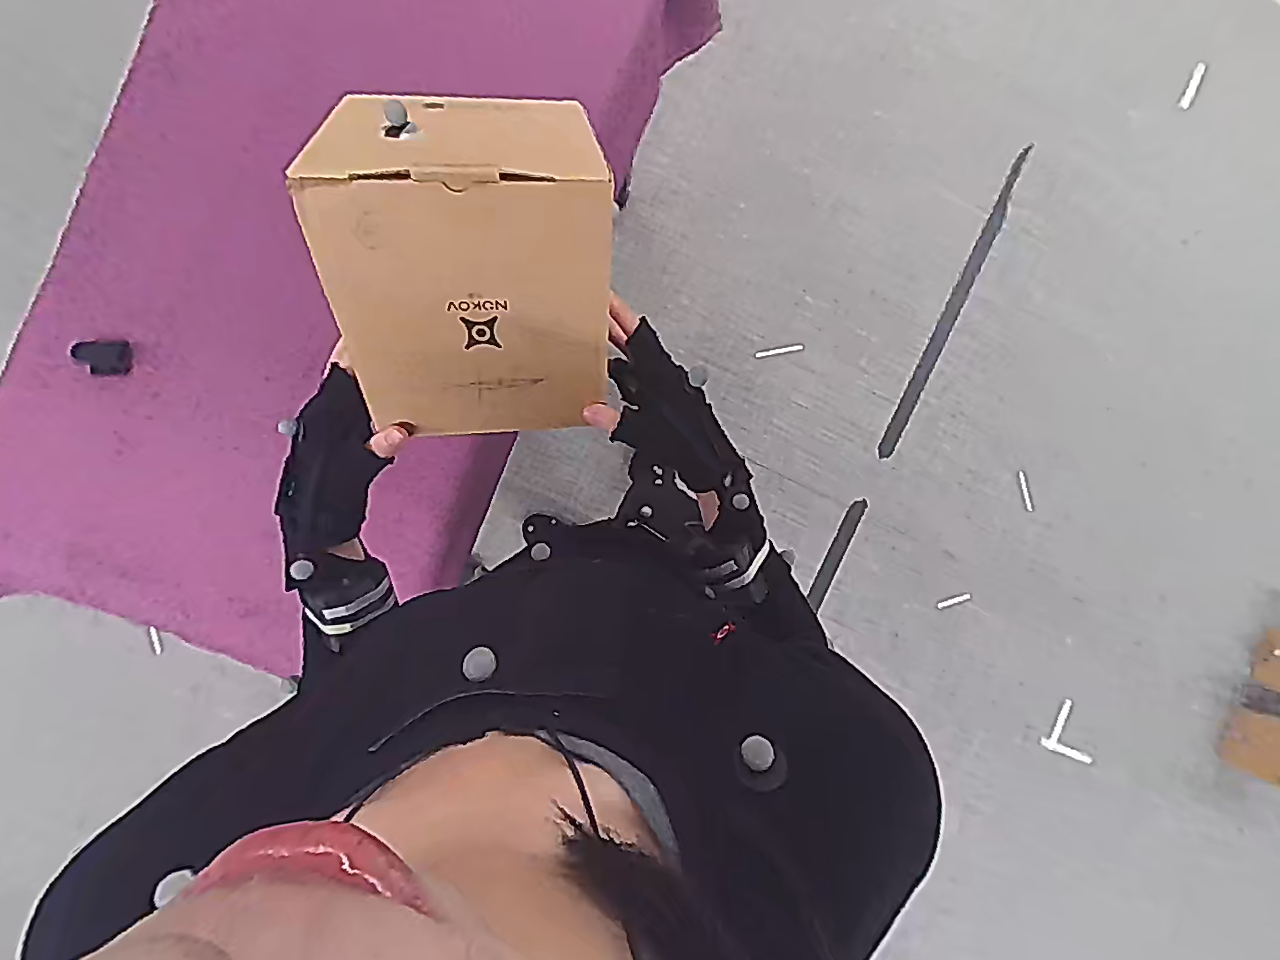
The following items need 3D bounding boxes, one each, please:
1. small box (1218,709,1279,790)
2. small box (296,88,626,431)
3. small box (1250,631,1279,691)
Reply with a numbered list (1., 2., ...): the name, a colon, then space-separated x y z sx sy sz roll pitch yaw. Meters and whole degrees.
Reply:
1. small box: 1.894 0.821 1.601 0.168 0.176 0.179 28 88 -4
2. small box: -0.108 -0.157 0.386 0.168 0.179 0.176 -4 47 -10
3. small box: 2.011 0.570 1.610 0.179 0.176 0.168 24 87 -3
